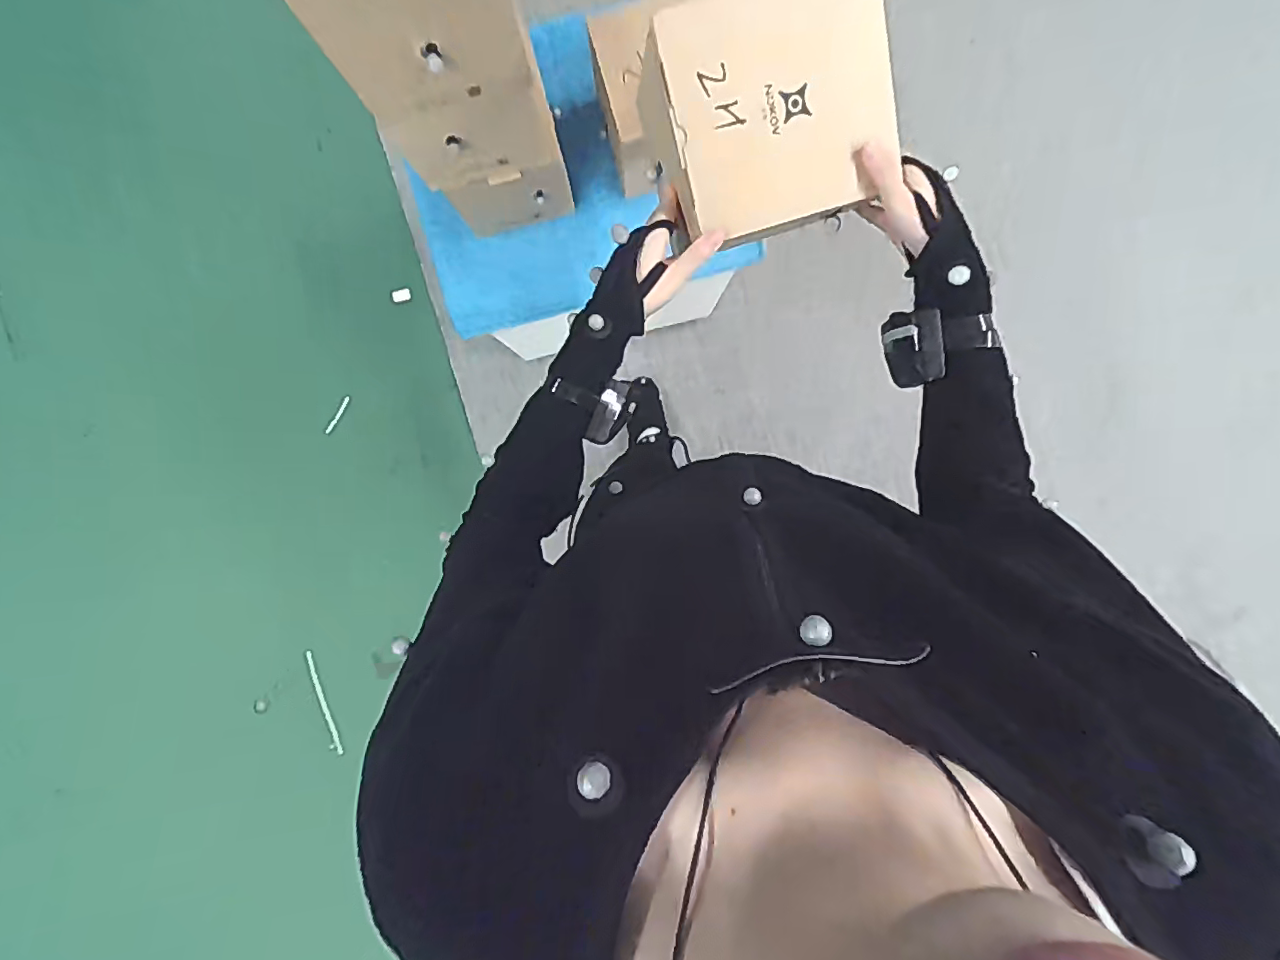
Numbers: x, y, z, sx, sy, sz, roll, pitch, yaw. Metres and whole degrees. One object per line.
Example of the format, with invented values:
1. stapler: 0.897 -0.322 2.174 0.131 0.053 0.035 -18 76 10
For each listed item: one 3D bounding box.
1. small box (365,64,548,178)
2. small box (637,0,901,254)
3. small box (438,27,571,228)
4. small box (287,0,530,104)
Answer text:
1. small box: -0.212 -0.475 0.619 0.168 0.176 0.179 -13 92 -1
2. small box: 0.104 -0.317 0.491 0.179 0.176 0.168 -15 107 1
3. small box: -0.203 -0.488 0.781 0.168 0.176 0.179 -14 93 -1
4. small box: -0.201 -0.457 0.457 0.168 0.176 0.179 -13 93 -1
